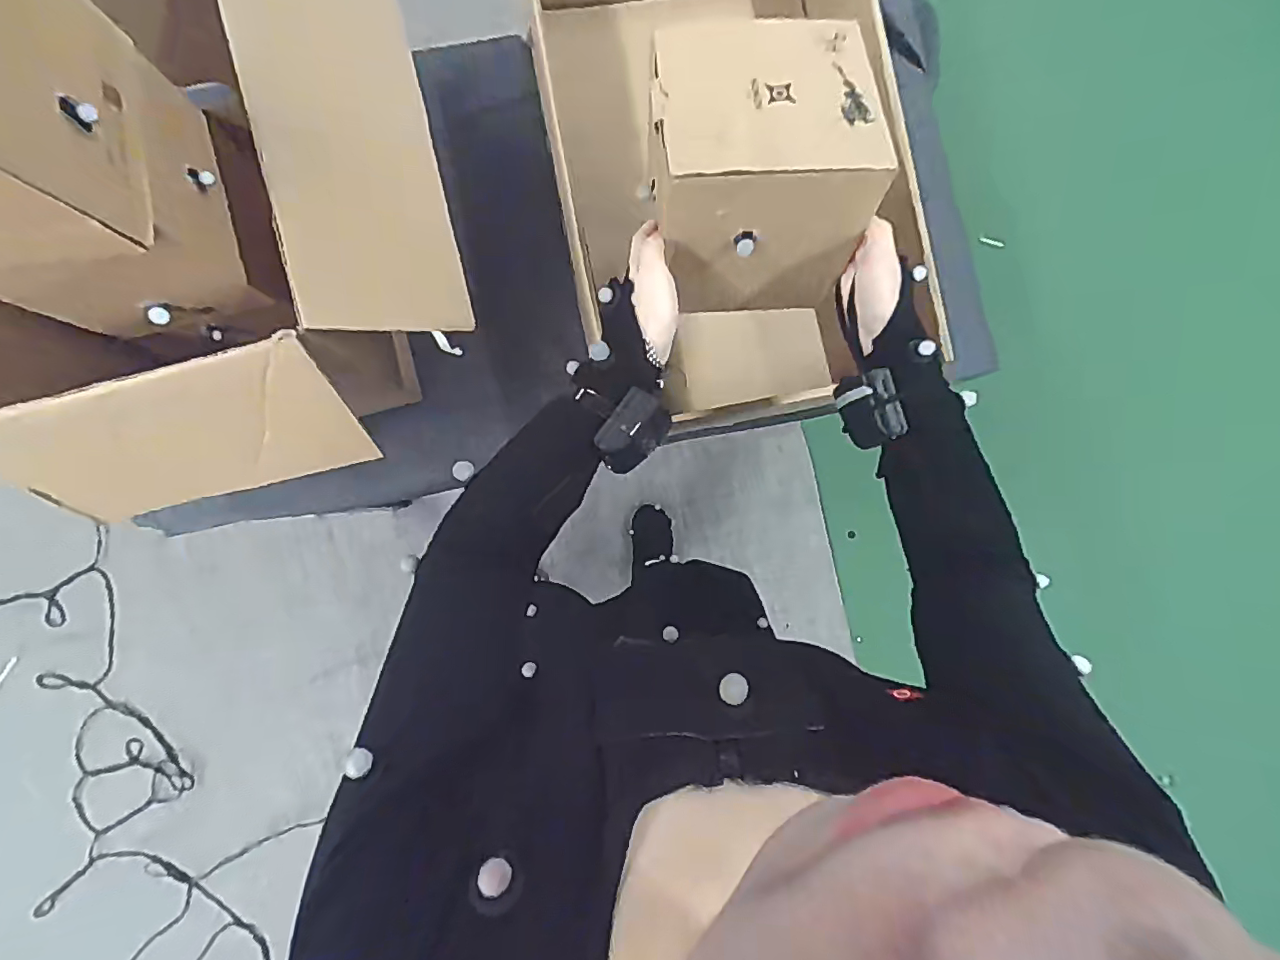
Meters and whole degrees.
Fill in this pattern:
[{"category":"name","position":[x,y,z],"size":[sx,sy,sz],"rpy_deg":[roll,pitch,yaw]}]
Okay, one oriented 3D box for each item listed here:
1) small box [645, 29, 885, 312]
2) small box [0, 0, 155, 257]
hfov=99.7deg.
[{"category":"small box","position":[0.097,-0.276,0.511],"size":[0.179,0.176,0.168],"rpy_deg":[-4,71,-2]},{"category":"small box","position":[-0.456,-0.247,0.326],"size":[0.179,0.176,0.168],"rpy_deg":[-7,89,-5]}]
